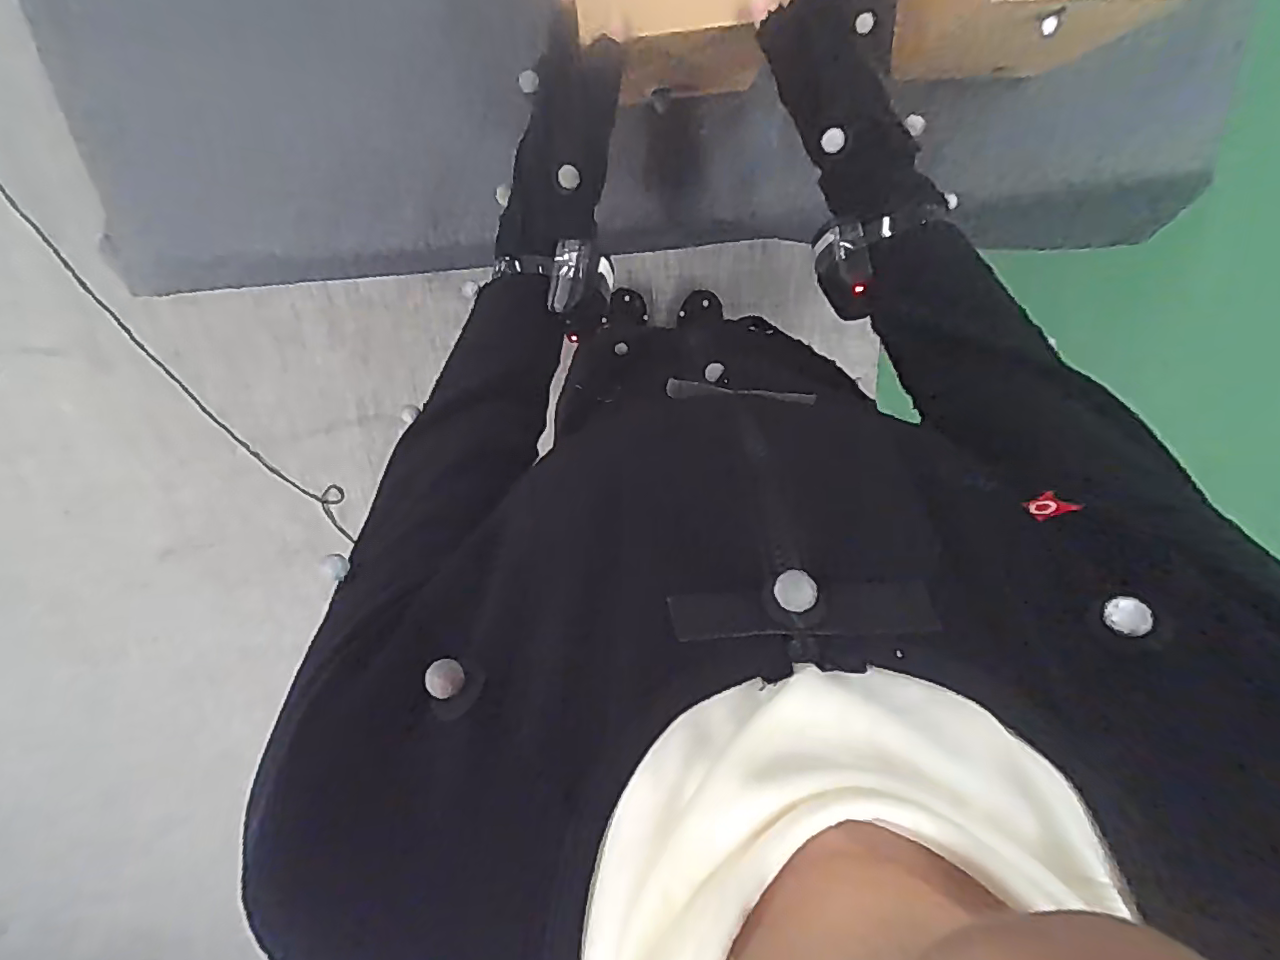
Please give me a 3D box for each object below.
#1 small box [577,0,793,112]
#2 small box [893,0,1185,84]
[{"bbox_3d":[0.025,-0.450,0.463,0.168,0.176,0.179,-7,110,2],"label":"small box"},{"bbox_3d":[0.340,-0.475,0.465,0.168,0.176,0.179,-2,109,0],"label":"small box"}]
